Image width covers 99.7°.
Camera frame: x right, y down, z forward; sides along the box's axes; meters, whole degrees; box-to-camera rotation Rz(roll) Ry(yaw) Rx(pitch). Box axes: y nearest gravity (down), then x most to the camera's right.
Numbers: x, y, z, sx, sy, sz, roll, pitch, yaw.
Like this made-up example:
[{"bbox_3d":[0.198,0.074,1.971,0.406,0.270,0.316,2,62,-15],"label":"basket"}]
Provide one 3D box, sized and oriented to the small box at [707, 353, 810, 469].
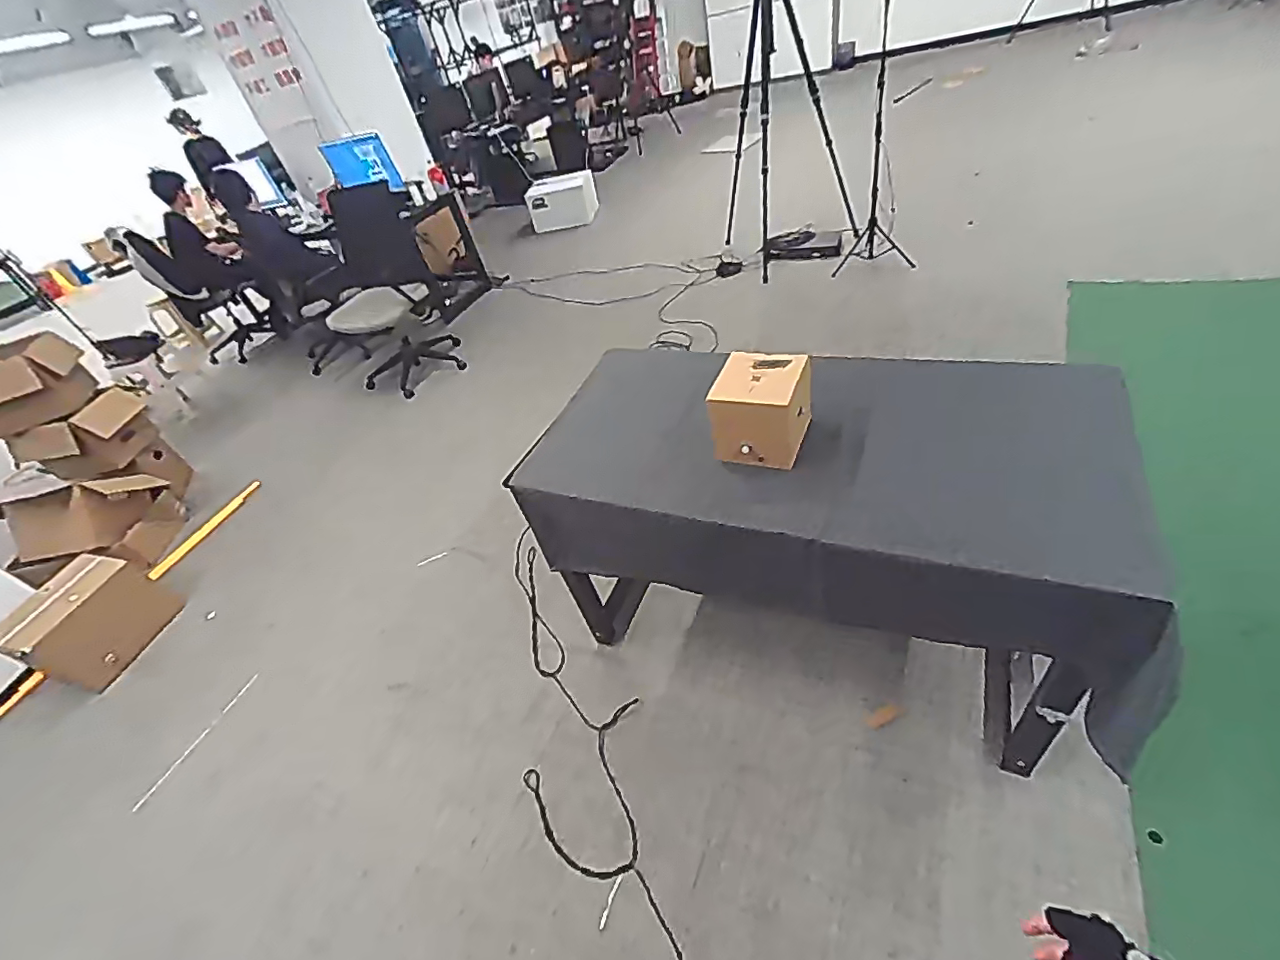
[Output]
[{"bbox_3d":[0.255,-0.148,1.142,0.168,0.176,0.179,9,47,27],"label":"small box"}]
